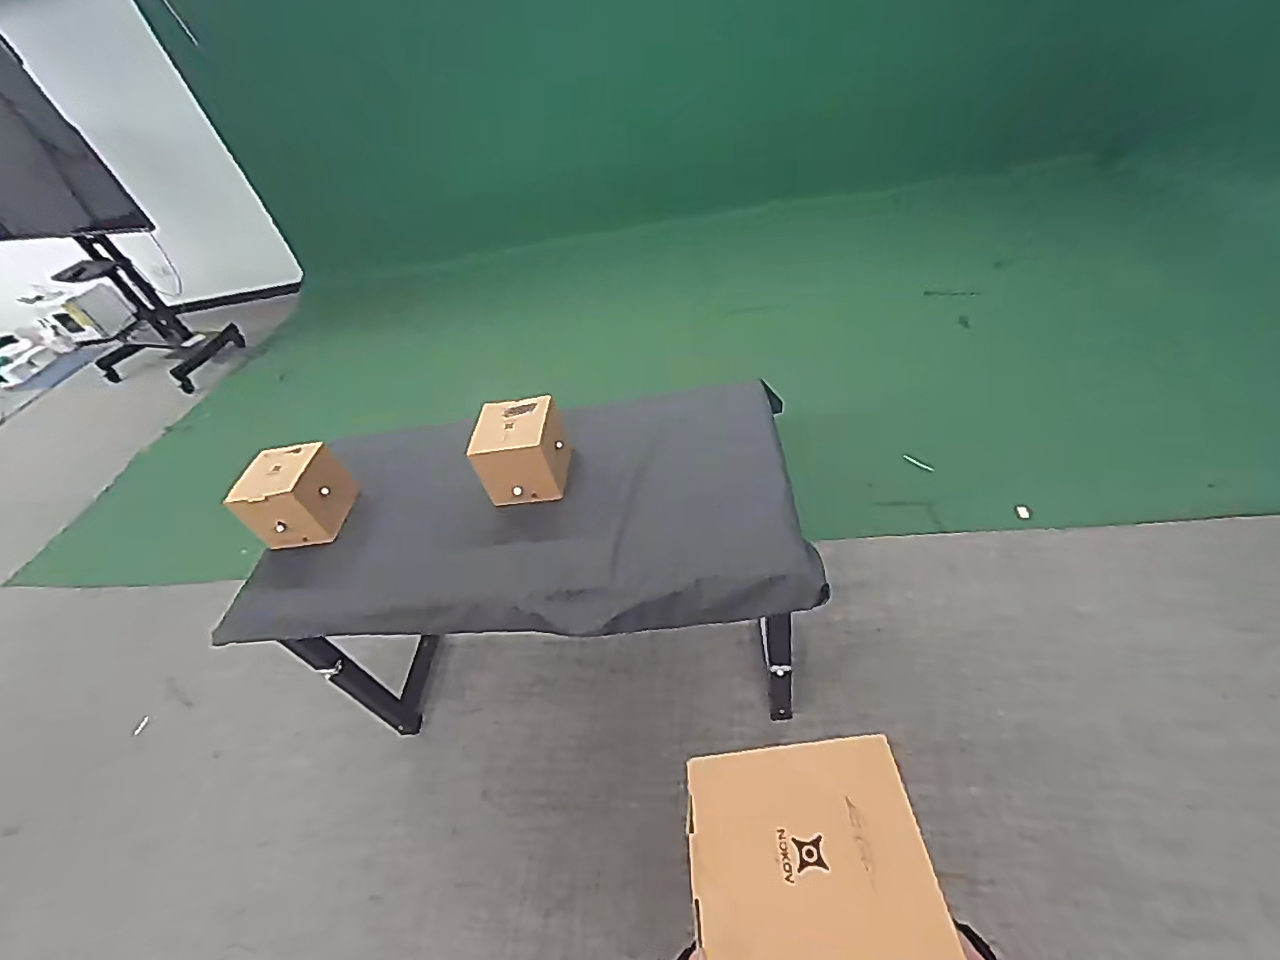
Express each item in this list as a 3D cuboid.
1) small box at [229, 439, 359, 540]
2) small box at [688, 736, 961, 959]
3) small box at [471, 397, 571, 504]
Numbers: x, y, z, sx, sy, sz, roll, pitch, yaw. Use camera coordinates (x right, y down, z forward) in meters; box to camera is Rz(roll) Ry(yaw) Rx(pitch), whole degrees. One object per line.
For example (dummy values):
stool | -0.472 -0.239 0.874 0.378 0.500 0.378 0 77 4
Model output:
small box | -0.805 0.030 1.282 0.168 0.176 0.179 -7 45 6
small box | 0.148 0.352 0.471 0.179 0.176 0.168 -12 39 8
small box | -0.263 -0.066 1.246 0.168 0.176 0.179 -6 46 8
